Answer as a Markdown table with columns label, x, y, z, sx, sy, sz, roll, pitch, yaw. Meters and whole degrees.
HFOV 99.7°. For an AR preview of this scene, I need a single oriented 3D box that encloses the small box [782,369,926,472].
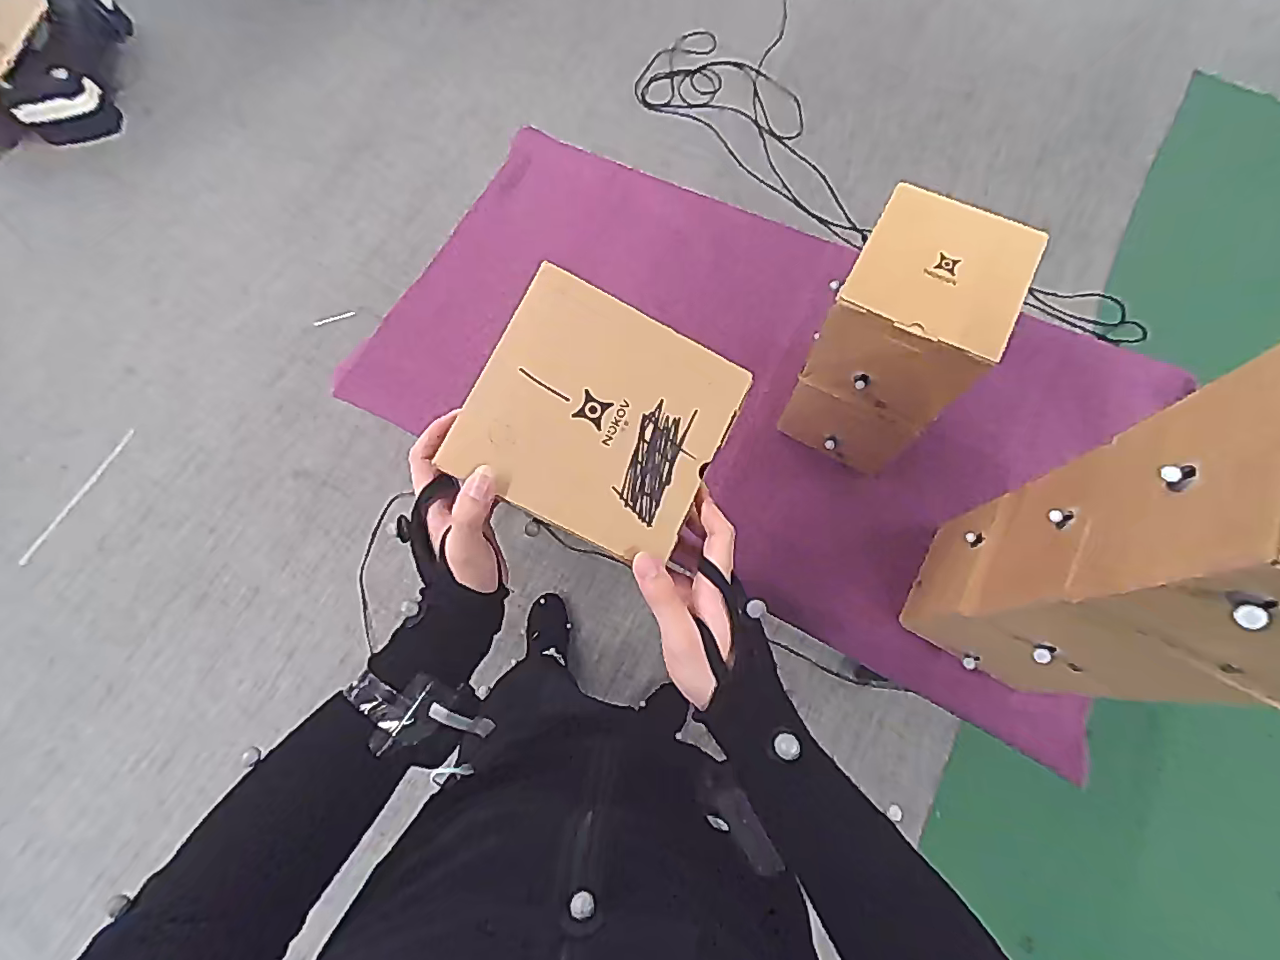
| label | x | y | z | sx | sy | sz | roll | pitch | yaw |
| --- | --- | --- | --- | --- | --- | --- | --- | --- | --- |
| small box | 0.327 | -0.140 | 0.789 | 0.168 | 0.176 | 0.179 | 30 | 76 | 11 |

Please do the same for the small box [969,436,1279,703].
| label | x | y | z | sx | sy | sz | roll | pitch | yaw |
| --- | --- | --- | --- | --- | --- | --- | --- | --- | --- |
| small box | 0.468 | 0.093 | 0.535 | 0.168 | 0.176 | 0.179 | 30 | 75 | 13 |

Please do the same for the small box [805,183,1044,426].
| label | x | y | z | sx | sy | sz | roll | pitch | yaw |
| --- | --- | --- | --- | --- | --- | --- | --- | --- | --- |
| small box | 0.315 | -0.194 | 0.636 | 0.168 | 0.176 | 0.179 | 28 | 76 | 10 |

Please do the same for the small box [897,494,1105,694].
| label | x | y | z | sx | sy | sz | roll | pitch | yaw |
| --- | --- | --- | --- | --- | --- | --- | --- | --- | --- |
| small box | 0.470 | 0.147 | 0.690 | 0.179 | 0.176 | 0.168 | 30 | 74 | 12 |
